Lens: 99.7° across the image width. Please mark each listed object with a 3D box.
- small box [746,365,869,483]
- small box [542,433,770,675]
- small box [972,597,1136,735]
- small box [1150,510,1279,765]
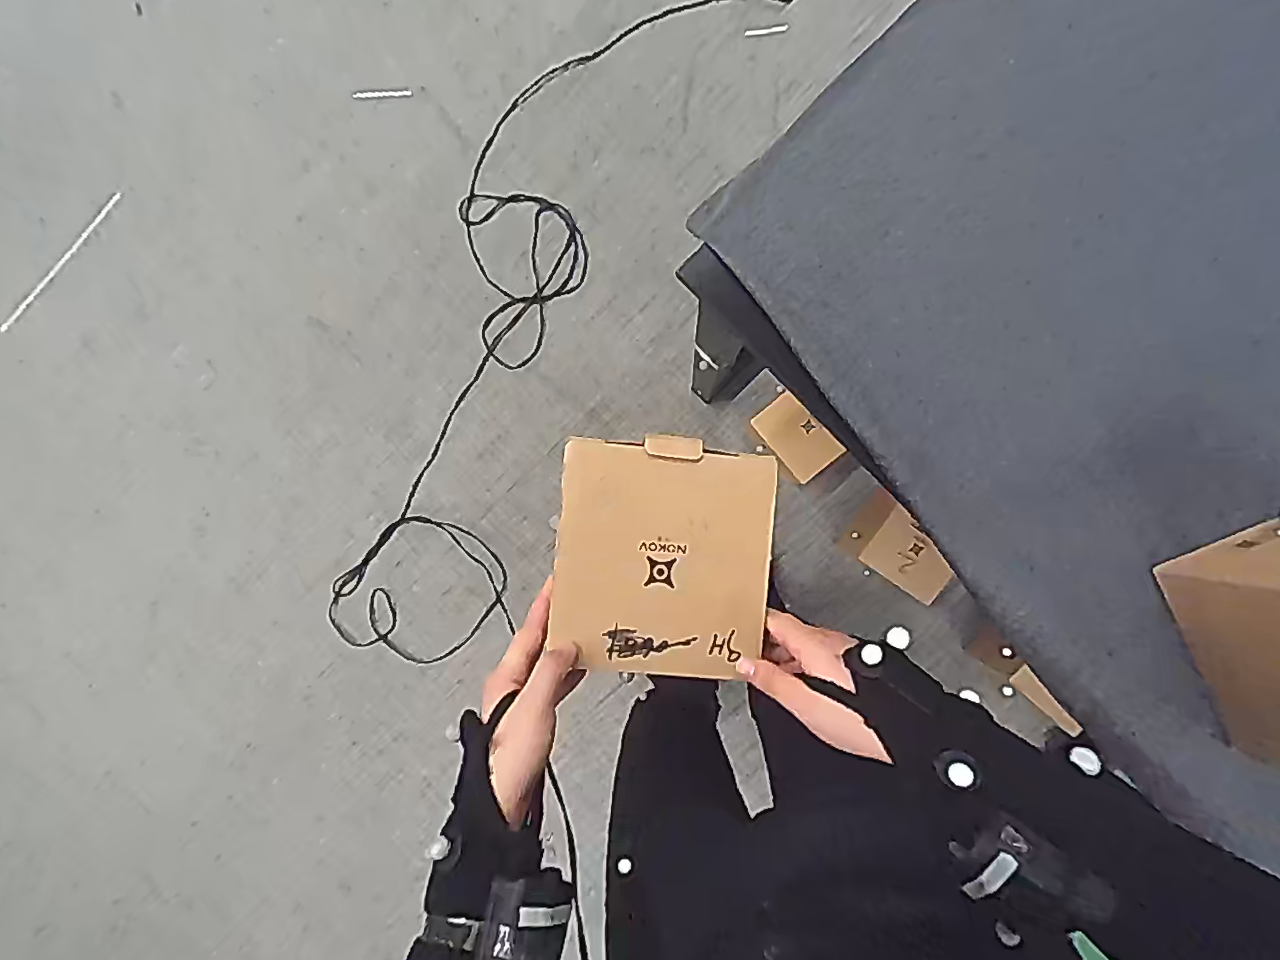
[{"bbox_3d":[0.337,-0.109,1.135,0.179,0.176,0.168,-40,88,4],"label":"small box"},{"bbox_3d":[0.010,0.059,0.495,0.168,0.176,0.179,5,89,-2],"label":"small box"},{"bbox_3d":[0.821,0.368,1.100,0.168,0.176,0.179,41,94,2],"label":"small box"},{"bbox_3d":[0.545,0.122,0.389,0.168,0.176,0.179,-24,88,2],"label":"small box"}]
